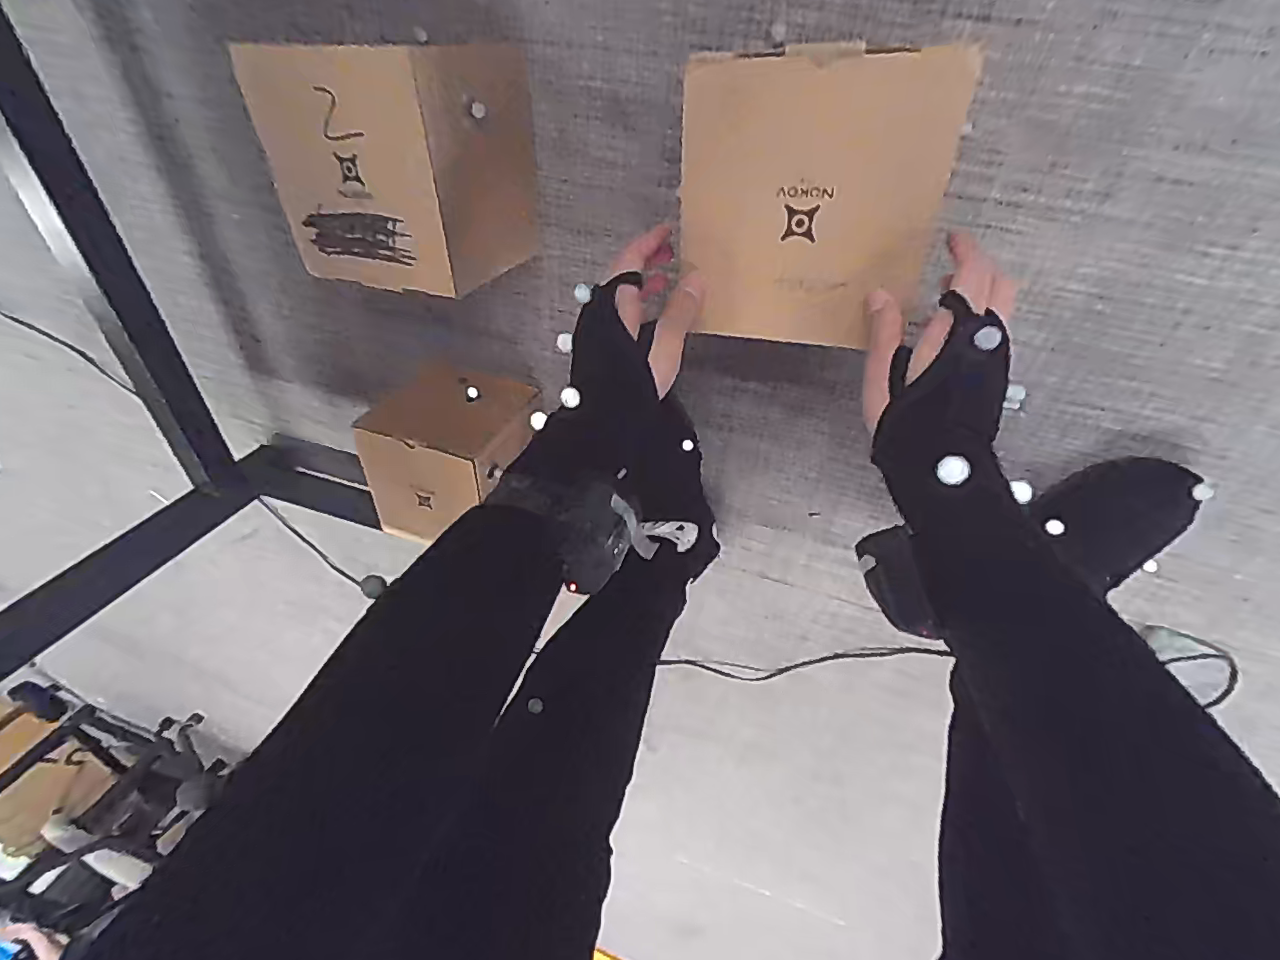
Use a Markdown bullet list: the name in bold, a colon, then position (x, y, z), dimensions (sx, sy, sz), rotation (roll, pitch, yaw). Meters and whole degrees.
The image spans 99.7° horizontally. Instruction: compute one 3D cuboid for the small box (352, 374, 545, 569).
- **small box**: position (-0.237, -0.017, 0.723), dimensions (0.168, 0.176, 0.179), rotation (14, 129, 13)
